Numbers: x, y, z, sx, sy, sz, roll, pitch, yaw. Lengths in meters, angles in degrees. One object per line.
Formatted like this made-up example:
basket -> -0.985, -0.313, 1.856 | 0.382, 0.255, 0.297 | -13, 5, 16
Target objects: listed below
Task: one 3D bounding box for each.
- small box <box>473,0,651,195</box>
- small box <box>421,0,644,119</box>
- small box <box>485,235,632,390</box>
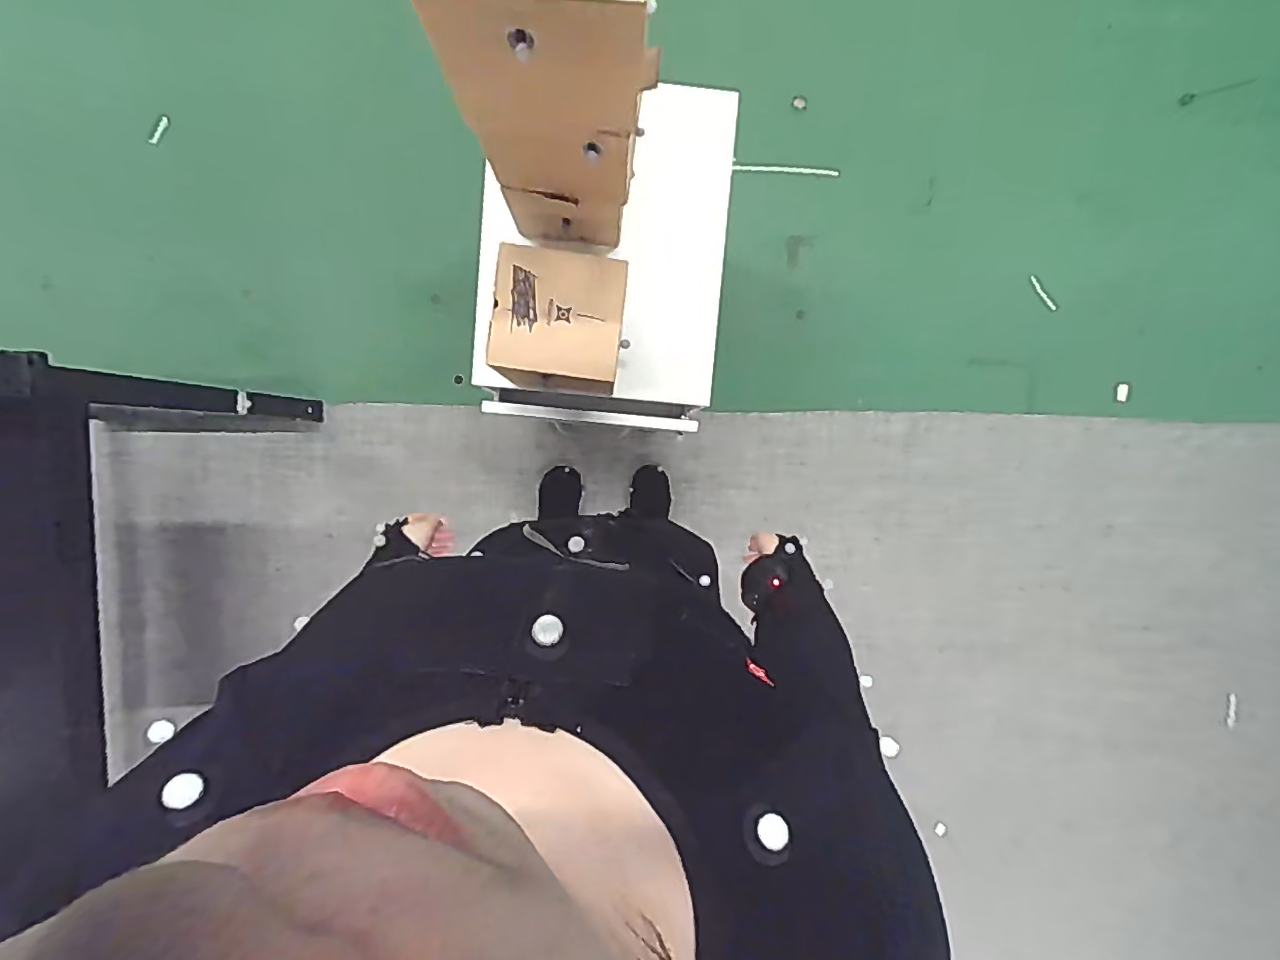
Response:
small box -> -0.087, -0.451, 0.612 | 0.179, 0.176, 0.168 | 8, 94, -4
small box -> -0.084, -0.432, 0.448 | 0.179, 0.176, 0.168 | 1, 95, -4
small box -> -0.112, -0.231, 0.789 | 0.179, 0.176, 0.168 | 7, 93, -5
